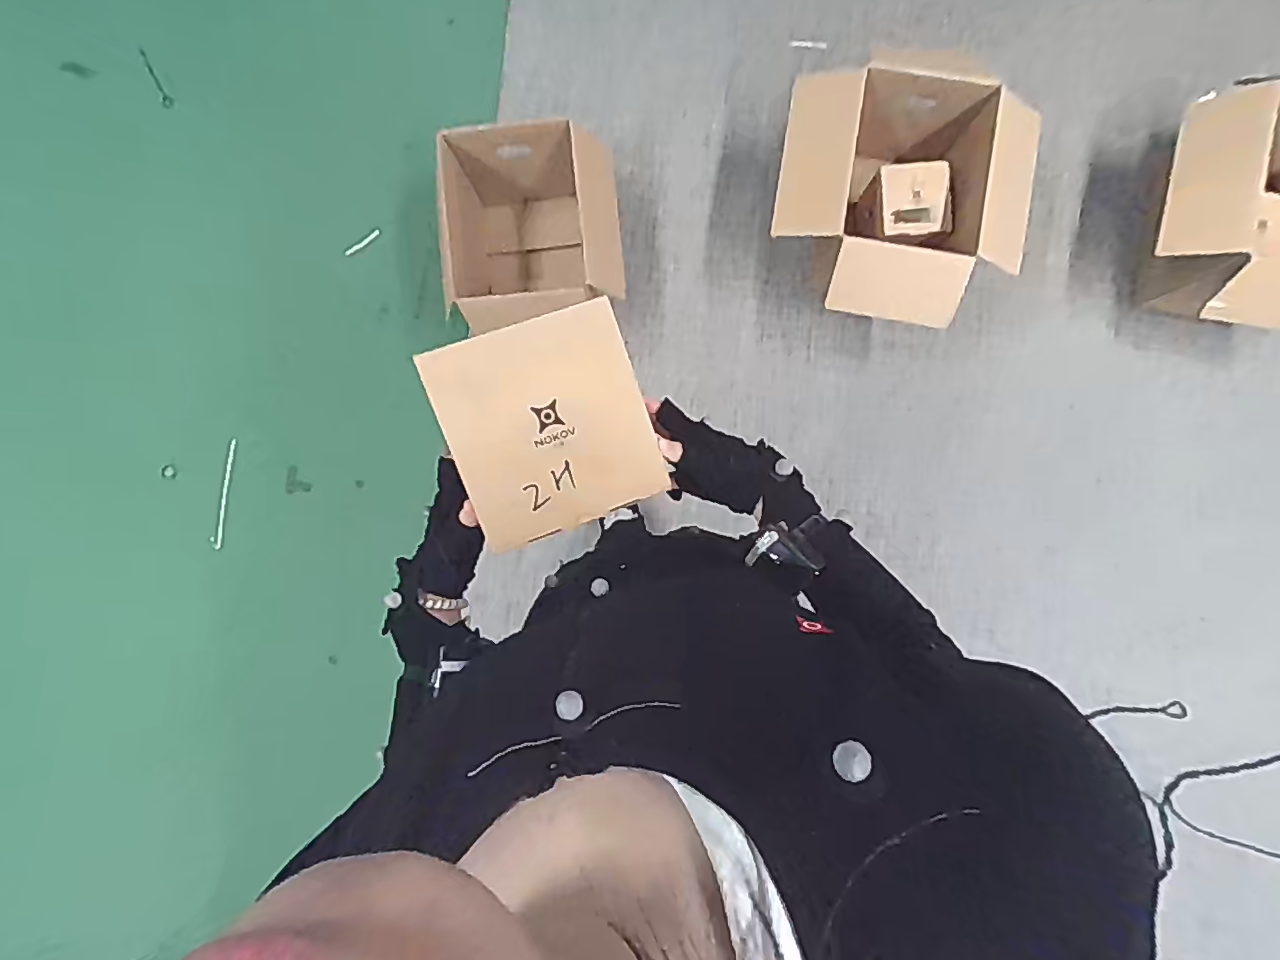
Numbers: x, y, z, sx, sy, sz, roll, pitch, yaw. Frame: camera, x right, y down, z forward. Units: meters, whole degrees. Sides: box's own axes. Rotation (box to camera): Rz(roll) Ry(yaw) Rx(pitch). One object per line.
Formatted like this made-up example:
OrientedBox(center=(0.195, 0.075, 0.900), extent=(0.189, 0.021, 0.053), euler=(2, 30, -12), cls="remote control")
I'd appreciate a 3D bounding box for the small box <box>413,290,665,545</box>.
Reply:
OrientedBox(center=(-0.095, -0.059, 0.524), extent=(0.168, 0.176, 0.179), euler=(-20, 100, -8), cls="small box")
